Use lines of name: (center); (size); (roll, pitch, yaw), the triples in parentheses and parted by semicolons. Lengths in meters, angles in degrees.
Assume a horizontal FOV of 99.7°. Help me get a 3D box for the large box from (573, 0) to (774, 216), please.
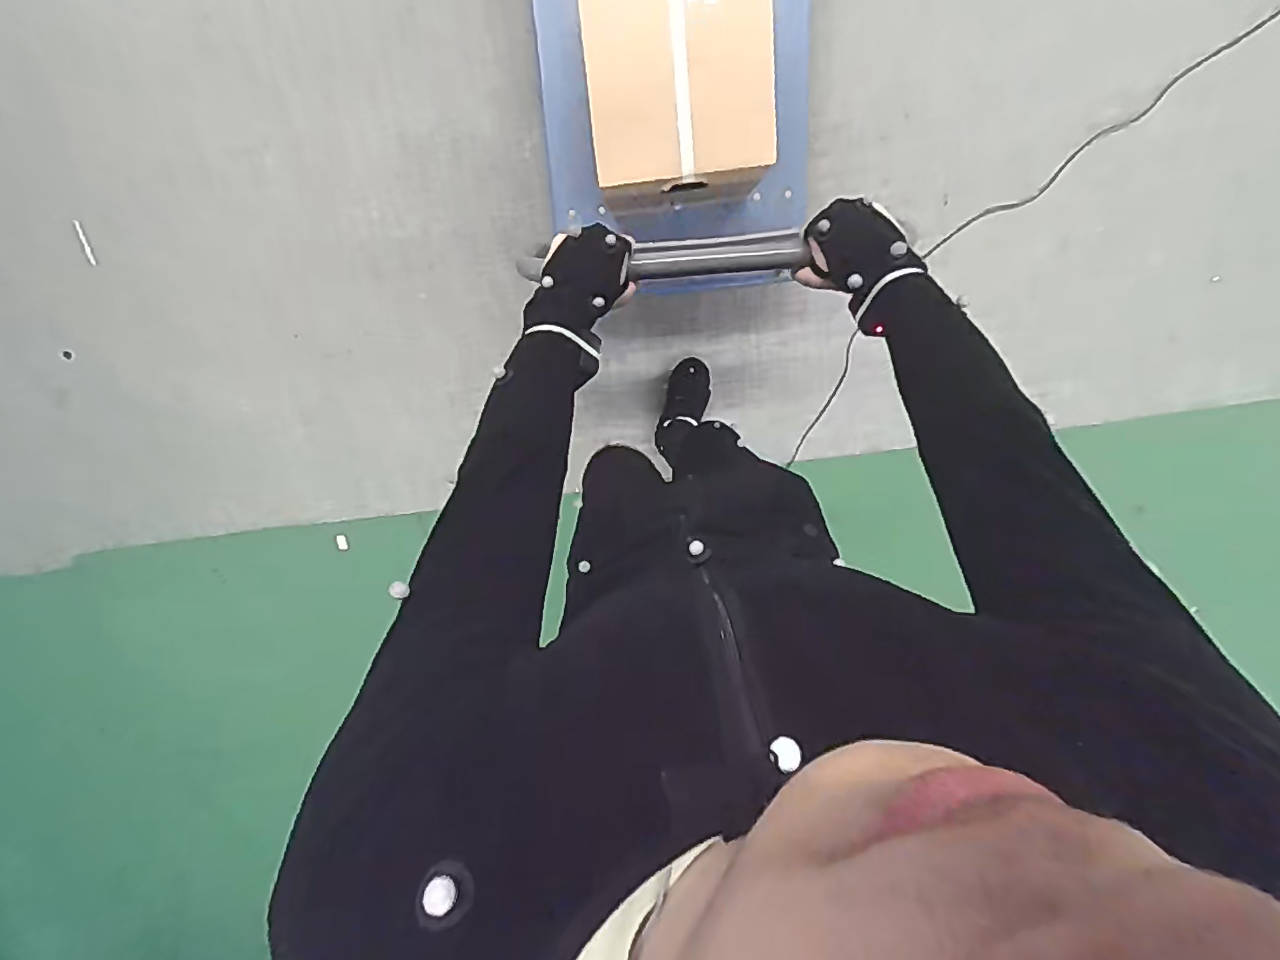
large box: (0.062, -0.768, 1.035); (0.320, 0.320, 0.408); (-6, 107, 4)
